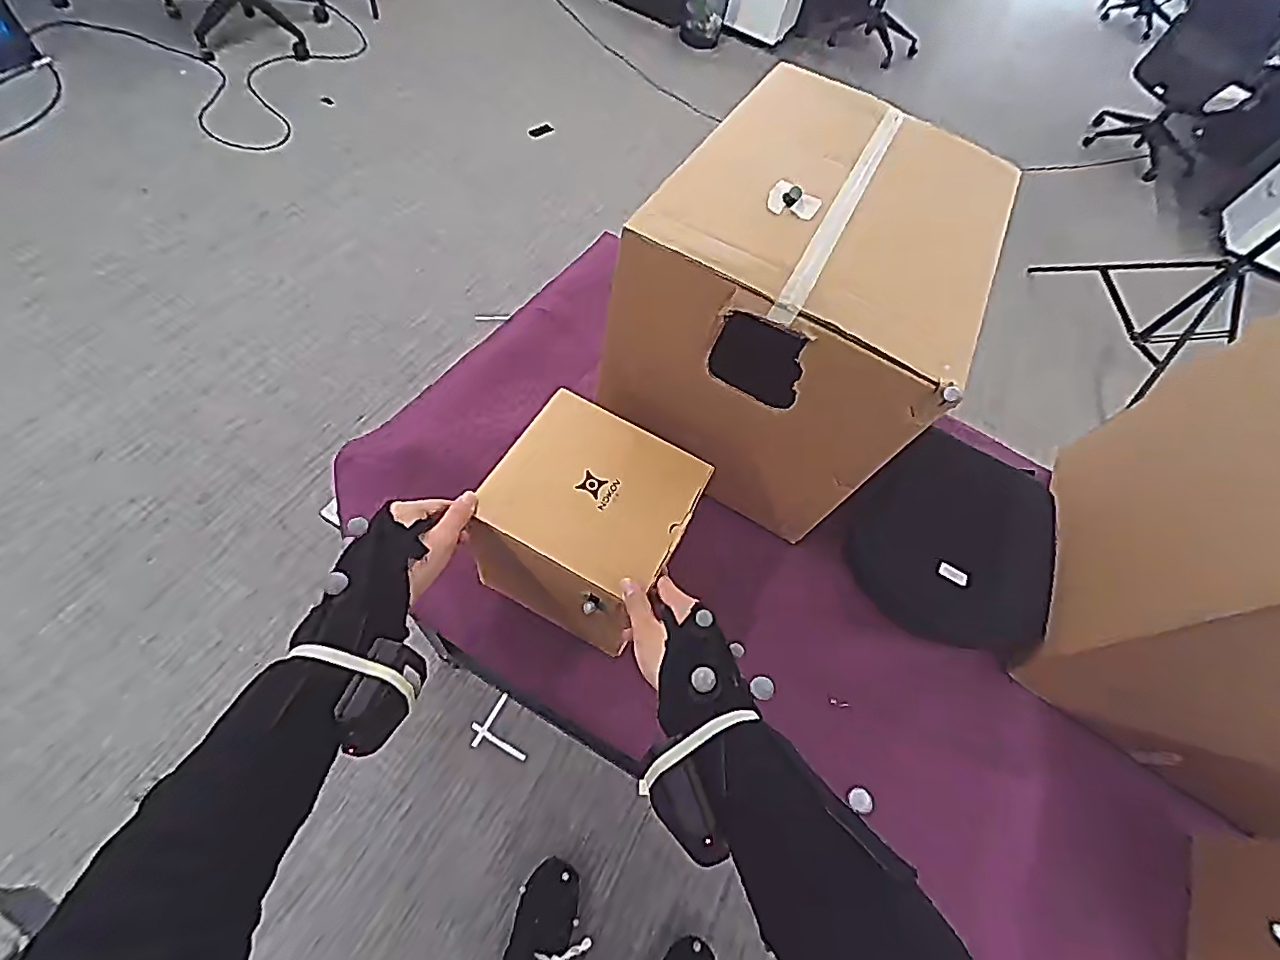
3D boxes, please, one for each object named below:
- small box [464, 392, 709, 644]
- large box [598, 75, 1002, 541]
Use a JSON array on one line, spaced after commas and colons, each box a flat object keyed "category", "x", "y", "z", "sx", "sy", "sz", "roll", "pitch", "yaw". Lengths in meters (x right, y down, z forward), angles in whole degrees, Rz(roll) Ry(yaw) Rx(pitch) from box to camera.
[{"category": "small box", "x": -0.056, "y": 0.048, "z": 0.563, "sx": 0.179, "sy": 0.176, "sz": 0.168, "roll": 27, "pitch": 58, "yaw": 5}, {"category": "large box", "x": 0.179, "y": -0.204, "z": 0.678, "sx": 0.320, "sy": 0.320, "sz": 0.408, "roll": 28, "pitch": 61, "yaw": 6}]
